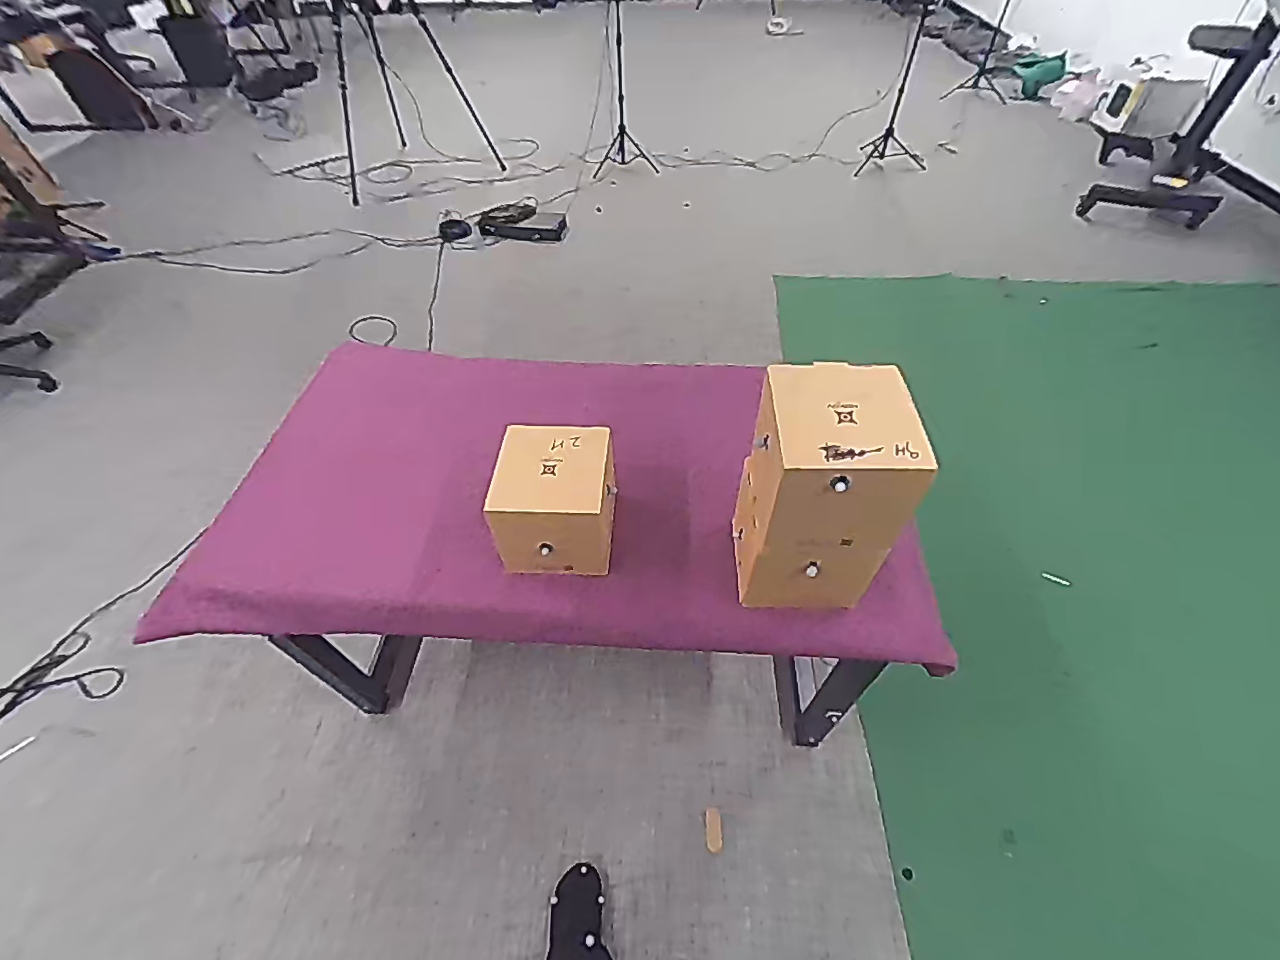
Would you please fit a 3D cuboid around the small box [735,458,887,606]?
[{"bbox_3d":[0.244,0.081,0.821,0.179,0.176,0.168,-1,51,4],"label":"small box"}]

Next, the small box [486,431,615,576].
[{"bbox_3d":[-0.131,0.040,0.871,0.168,0.176,0.179,1,49,3],"label":"small box"}]

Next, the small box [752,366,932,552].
[{"bbox_3d":[0.240,-0.026,0.696,0.168,0.176,0.179,-1,50,5],"label":"small box"}]
